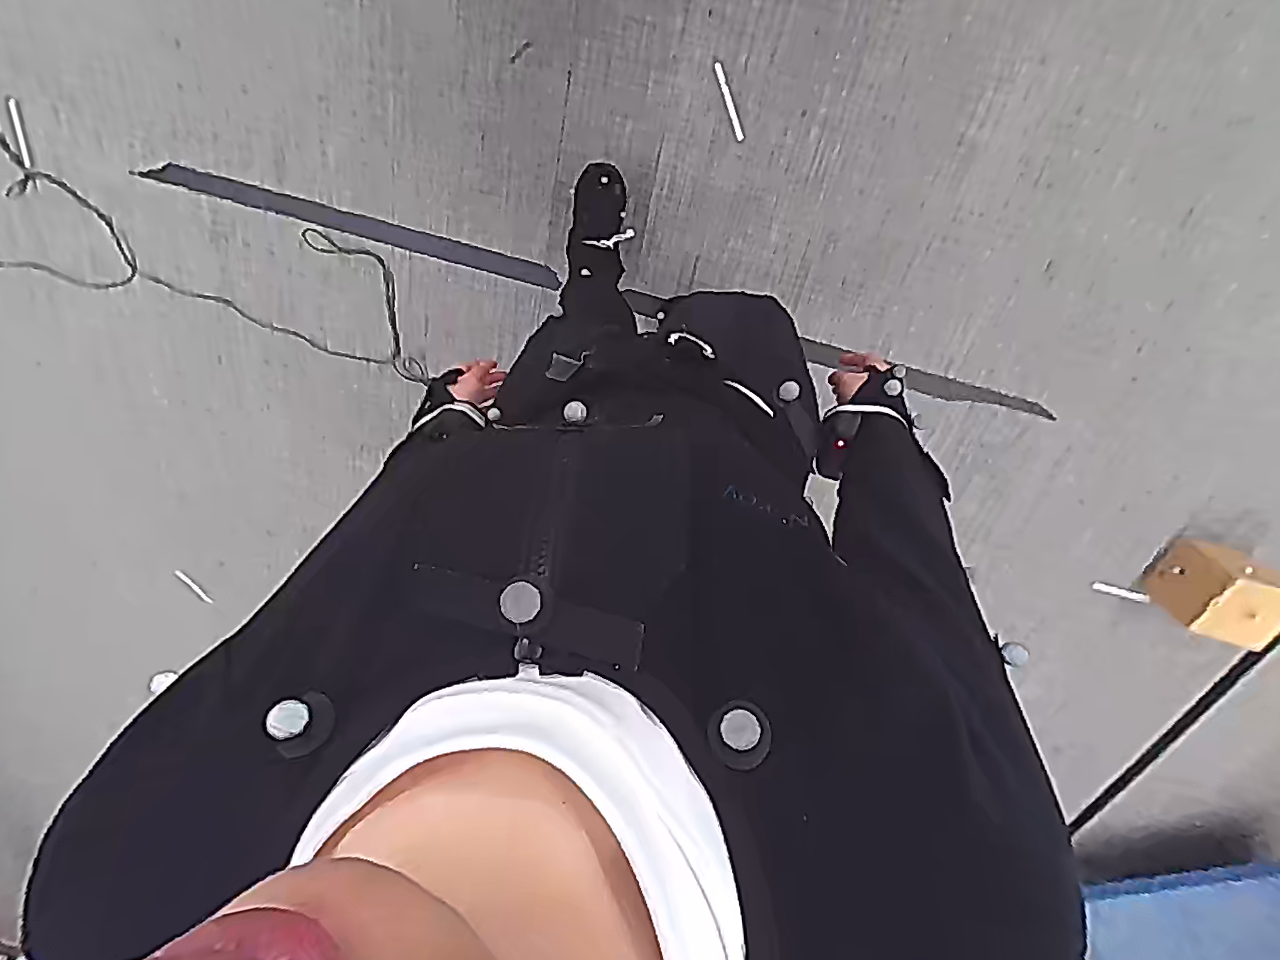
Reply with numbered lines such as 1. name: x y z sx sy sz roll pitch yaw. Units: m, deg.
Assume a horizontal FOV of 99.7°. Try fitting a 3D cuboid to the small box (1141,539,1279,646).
1. small box: 1.390 0.264 1.299 0.179 0.176 0.168 15 118 1
